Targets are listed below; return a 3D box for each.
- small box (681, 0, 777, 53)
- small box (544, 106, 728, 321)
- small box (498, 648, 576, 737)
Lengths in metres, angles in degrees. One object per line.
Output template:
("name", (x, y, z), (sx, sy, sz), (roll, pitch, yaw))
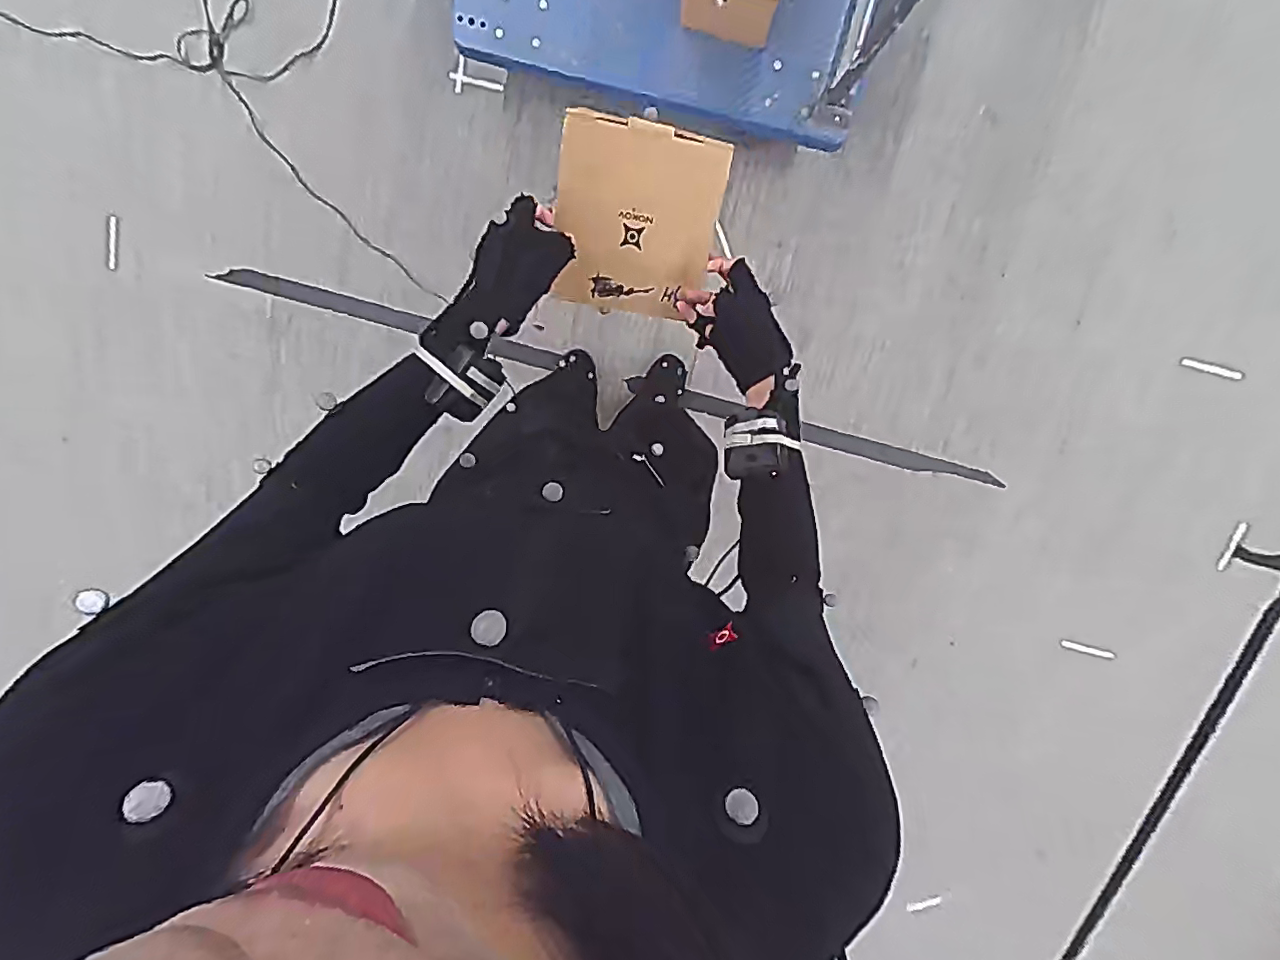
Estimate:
("small box", (0.181, -0.951, 1.014), (0.179, 0.176, 0.168), (16, 103, -1))
("small box", (-0.013, -0.306, 0.625), (0.168, 0.176, 0.179), (8, 121, -8))
("small box", (-0.301, 0.621, 1.602), (0.179, 0.176, 0.168), (11, 104, 0))
